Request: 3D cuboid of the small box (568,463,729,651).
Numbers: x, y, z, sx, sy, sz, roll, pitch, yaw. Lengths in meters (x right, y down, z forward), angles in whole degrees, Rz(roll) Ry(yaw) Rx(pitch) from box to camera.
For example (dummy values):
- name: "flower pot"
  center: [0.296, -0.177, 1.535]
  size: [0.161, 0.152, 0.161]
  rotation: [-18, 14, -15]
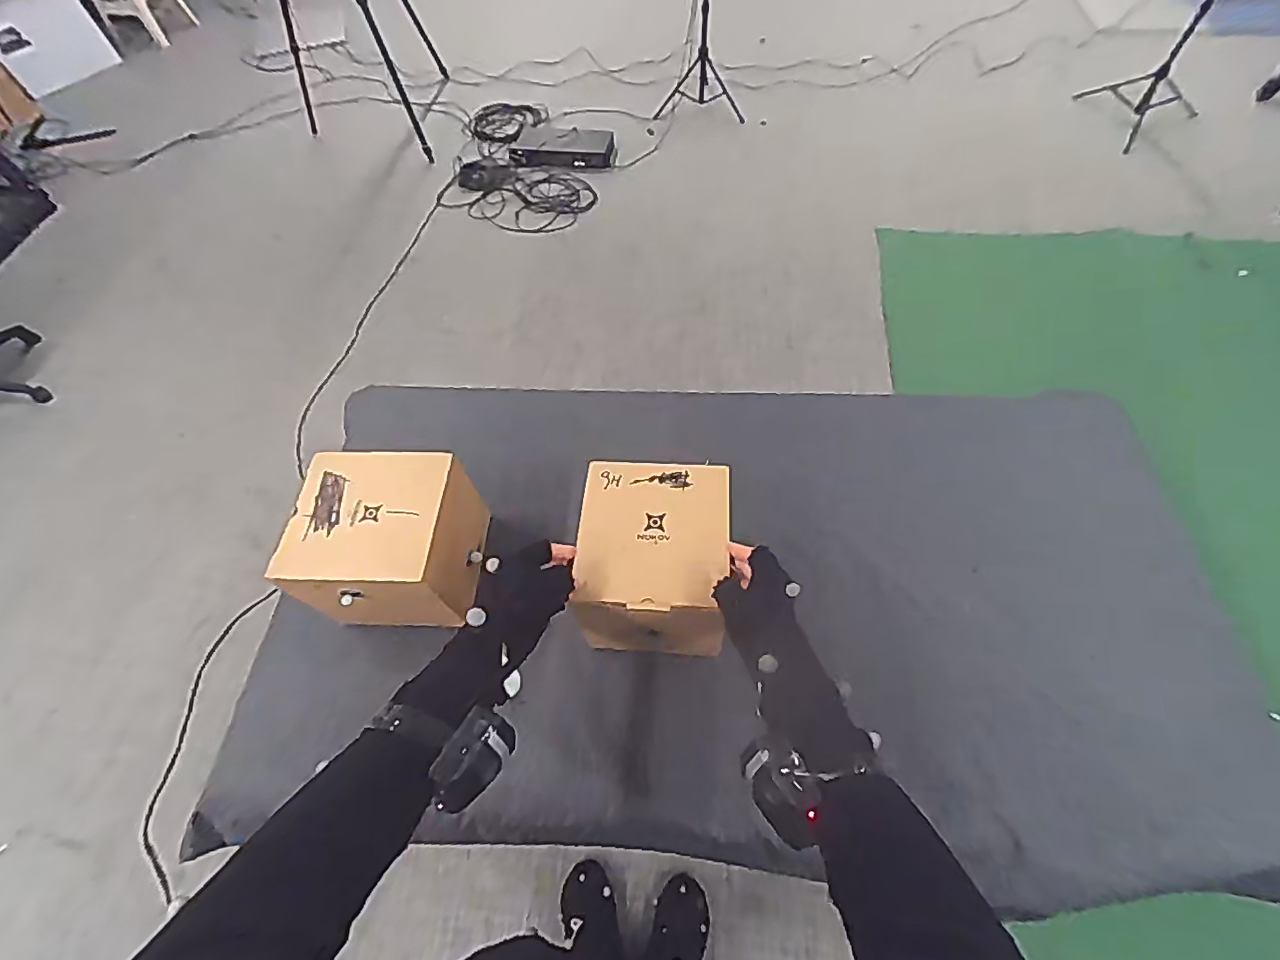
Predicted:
- name: "small box"
  center: [0.019, 0.098, 0.655]
  size: [0.168, 0.176, 0.179]
  rotation: [3, 59, 5]

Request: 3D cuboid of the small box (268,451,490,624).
- name: "small box"
  center: [-0.309, 0.078, 0.685]
  size: [0.179, 0.176, 0.168]
  rotation: [1, 59, 2]
